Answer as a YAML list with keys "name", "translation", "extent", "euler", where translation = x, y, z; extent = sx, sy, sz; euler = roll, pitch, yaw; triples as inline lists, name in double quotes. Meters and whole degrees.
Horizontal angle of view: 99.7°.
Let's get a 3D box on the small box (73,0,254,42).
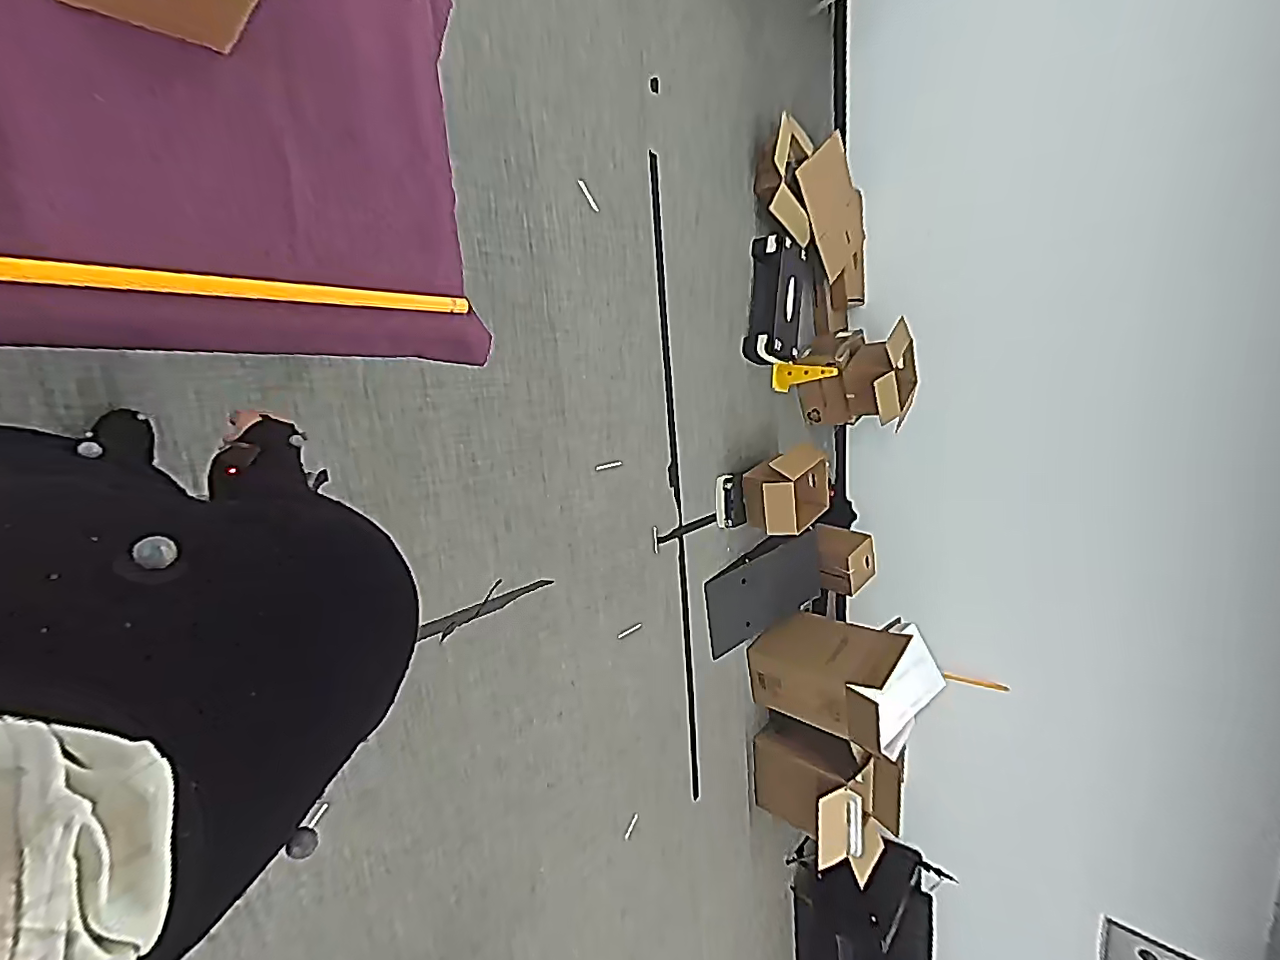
- name: "small box"
  translation: [-0.565, -0.639, 0.605]
  extent: [0.179, 0.176, 0.168]
  euler: [-14, 106, -45]
